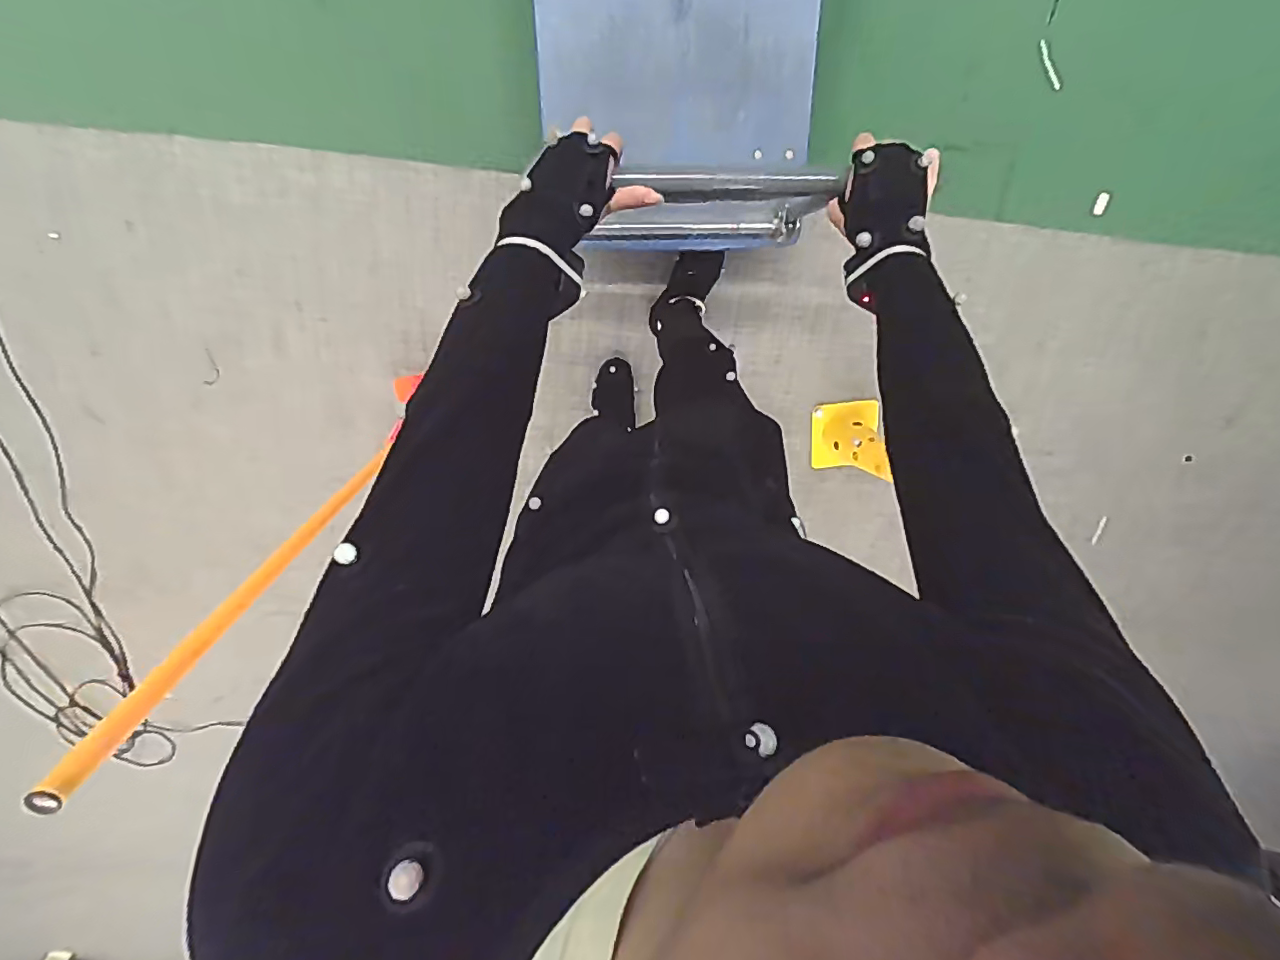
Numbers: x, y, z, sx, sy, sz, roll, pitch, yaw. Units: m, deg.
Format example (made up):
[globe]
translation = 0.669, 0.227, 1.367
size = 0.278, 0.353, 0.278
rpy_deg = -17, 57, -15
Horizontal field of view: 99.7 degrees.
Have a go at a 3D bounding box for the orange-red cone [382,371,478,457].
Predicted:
[orange-red cone]
translation = -0.558, -0.131, 1.347
size = 0.199, 0.360, 0.198
rpy_deg = -10, 112, 1
